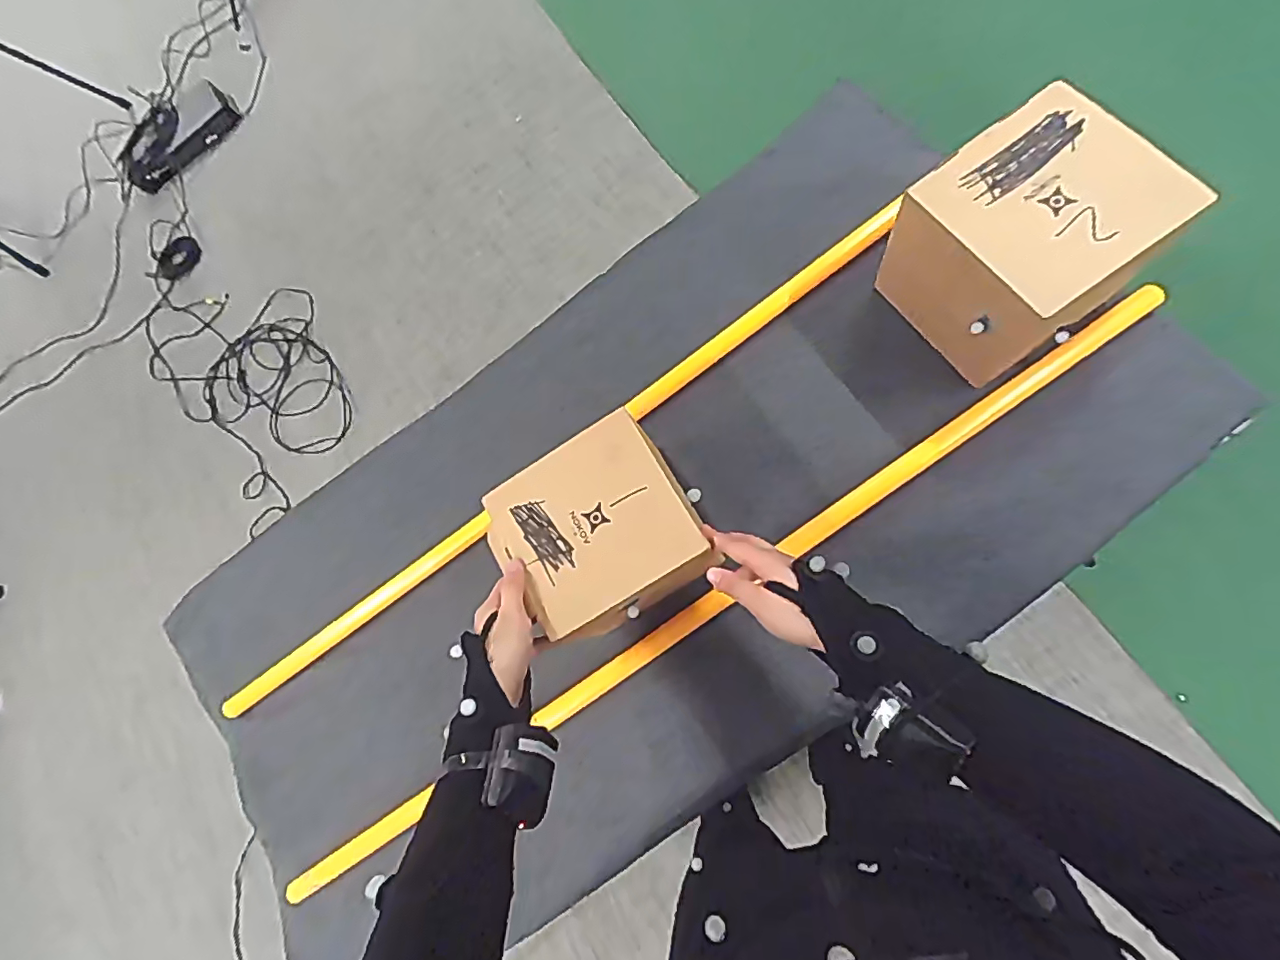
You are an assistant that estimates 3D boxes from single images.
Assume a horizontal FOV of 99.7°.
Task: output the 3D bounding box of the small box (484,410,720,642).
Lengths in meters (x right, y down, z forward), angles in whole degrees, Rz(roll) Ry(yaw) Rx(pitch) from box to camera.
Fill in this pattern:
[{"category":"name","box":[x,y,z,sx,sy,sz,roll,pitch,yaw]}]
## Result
[{"category":"small box","box":[-0.030,0.058,0.590,0.179,0.176,0.168,-32,73,5]}]
